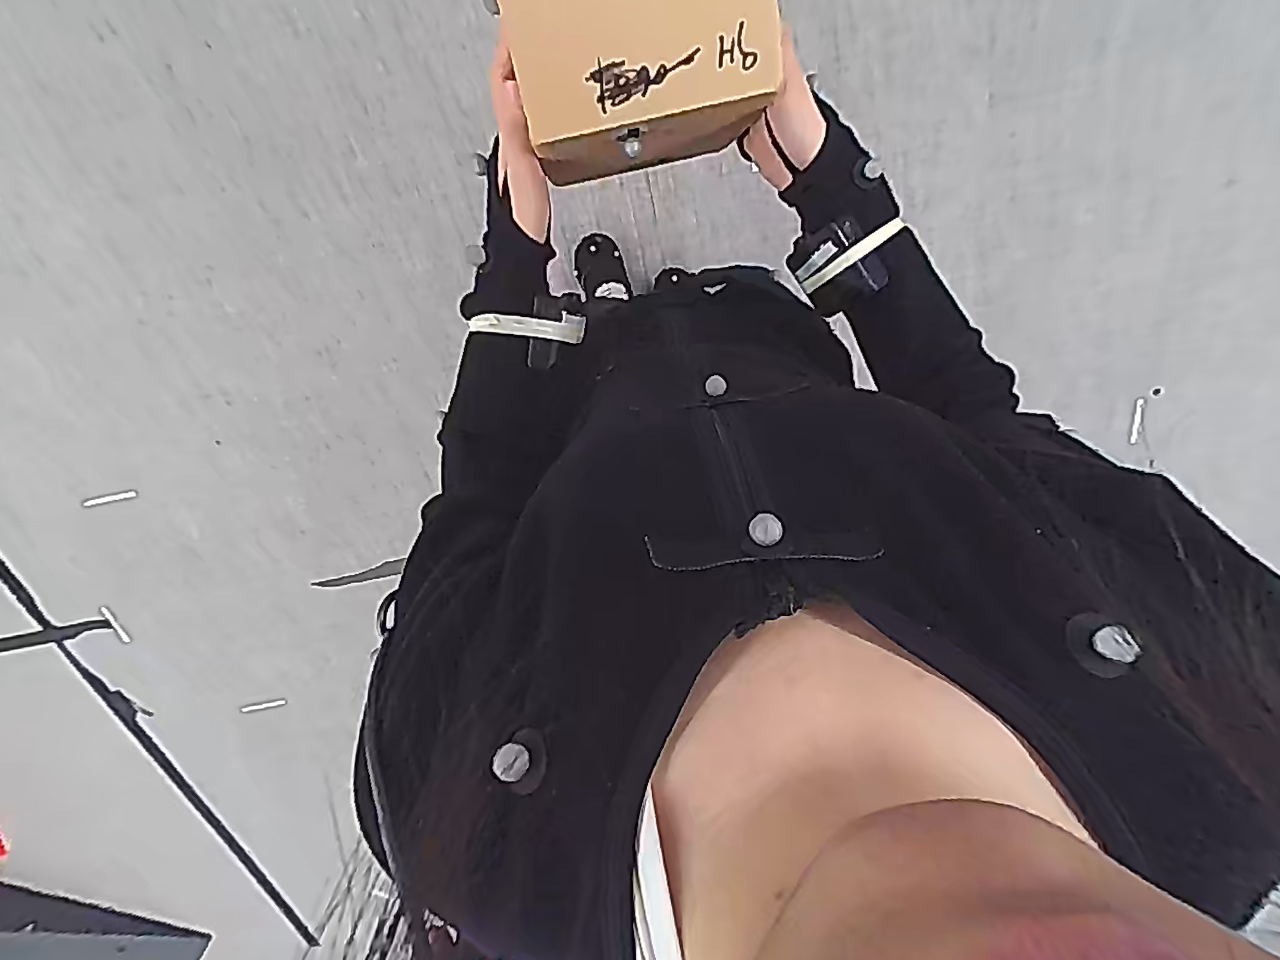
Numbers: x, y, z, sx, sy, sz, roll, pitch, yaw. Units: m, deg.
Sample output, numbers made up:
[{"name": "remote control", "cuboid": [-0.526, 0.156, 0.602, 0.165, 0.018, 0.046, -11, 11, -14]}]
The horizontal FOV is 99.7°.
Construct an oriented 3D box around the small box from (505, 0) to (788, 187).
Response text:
[{"name": "small box", "cuboid": [-0.009, -0.333, 0.386, 0.168, 0.176, 0.179, -13, 110, 0]}]
